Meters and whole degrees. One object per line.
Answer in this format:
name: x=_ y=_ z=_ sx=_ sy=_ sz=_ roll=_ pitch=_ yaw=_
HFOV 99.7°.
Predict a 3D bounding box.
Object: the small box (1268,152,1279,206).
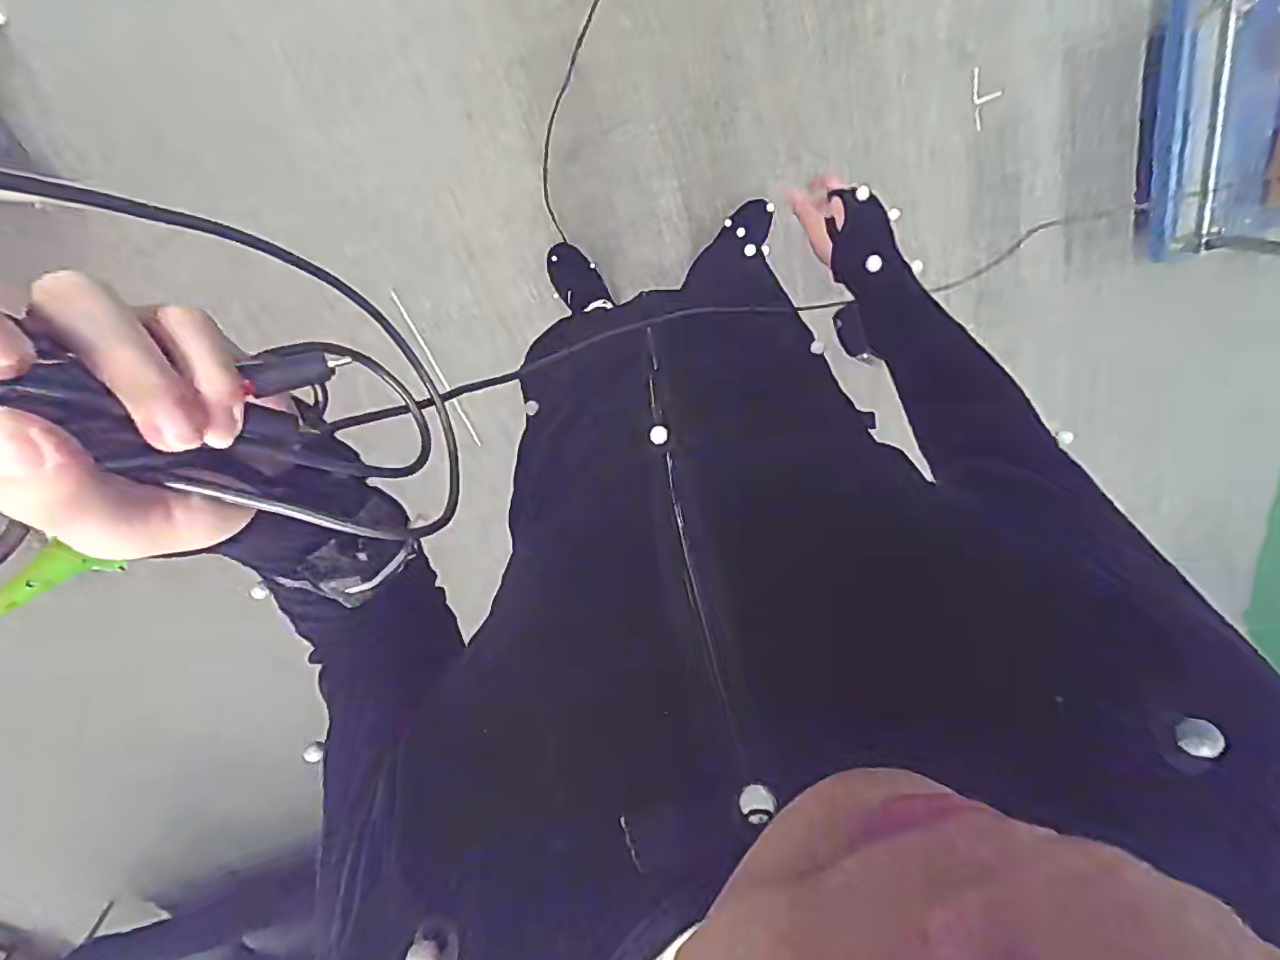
small box: x=1.536 y=-0.696 z=1.153 sx=0.179 sy=0.176 sz=0.168 roll=-17 pitch=118 yaw=8
